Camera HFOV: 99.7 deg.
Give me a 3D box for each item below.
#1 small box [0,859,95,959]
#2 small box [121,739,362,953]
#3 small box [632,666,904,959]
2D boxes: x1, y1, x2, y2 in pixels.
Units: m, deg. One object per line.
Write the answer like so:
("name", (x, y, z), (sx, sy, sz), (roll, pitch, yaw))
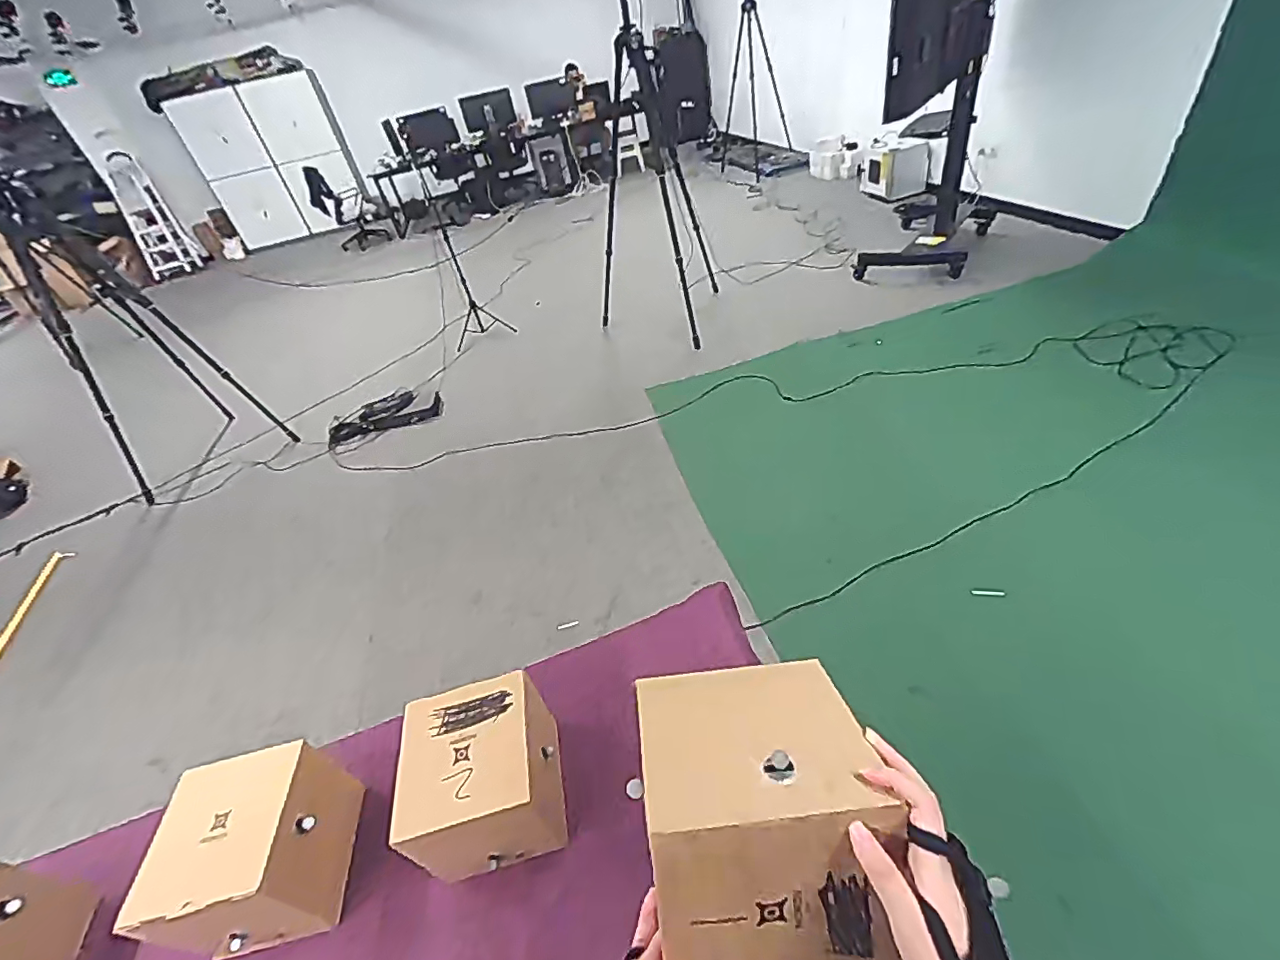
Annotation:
("small box", (-0.838, 0.611, 0.656), (0.168, 0.176, 0.179), (-20, 40, -7))
("small box", (-0.498, 0.482, 0.715), (0.168, 0.176, 0.179), (-15, 41, -1))
("small box", (0.090, 0.276, 0.452), (0.179, 0.168, 0.176), (-6, 16, -1))
